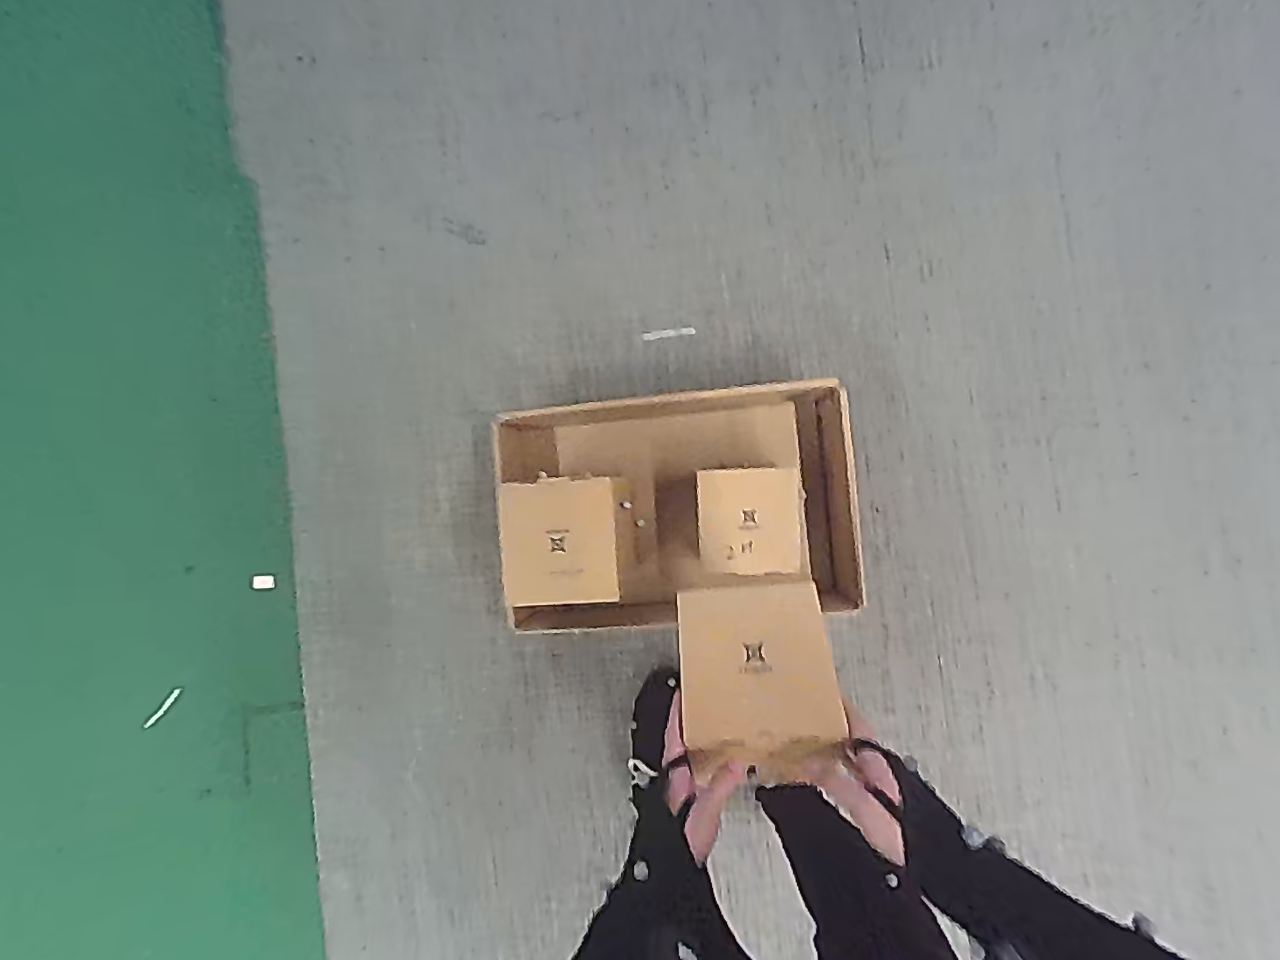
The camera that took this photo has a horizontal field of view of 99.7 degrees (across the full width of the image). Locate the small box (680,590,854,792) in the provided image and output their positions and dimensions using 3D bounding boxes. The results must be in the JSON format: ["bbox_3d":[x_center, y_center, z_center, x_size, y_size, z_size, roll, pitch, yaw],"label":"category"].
[{"bbox_3d":[0.136,0.251,0.640,0.168,0.176,0.179,-6,49,6],"label":"small box"}]

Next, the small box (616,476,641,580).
[{"bbox_3d":[-0.089,0.087,0.992,0.168,0.176,0.179,-3,88,6],"label":"small box"}]

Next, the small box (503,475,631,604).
[{"bbox_3d":[-0.104,0.086,0.830,0.168,0.176,0.179,-3,89,5],"label":"small box"}]
